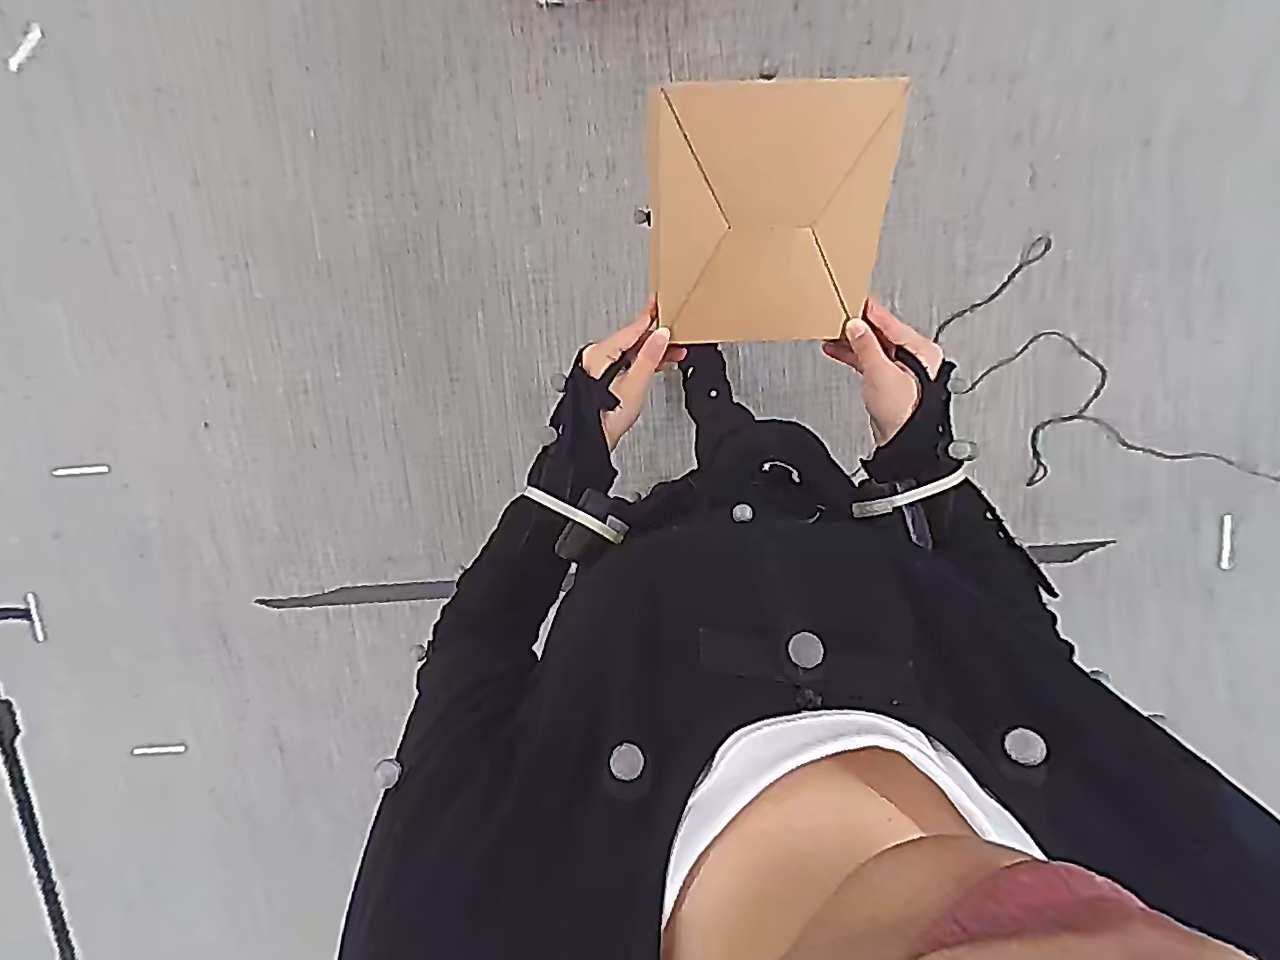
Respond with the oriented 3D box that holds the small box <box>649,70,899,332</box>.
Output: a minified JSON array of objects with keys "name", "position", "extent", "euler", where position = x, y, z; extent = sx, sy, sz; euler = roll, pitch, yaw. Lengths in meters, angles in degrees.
[{"name":"small box","position":[0.094,-0.239,0.467],"extent":[0.168,0.176,0.179],"euler":[-2,126,-1]}]
